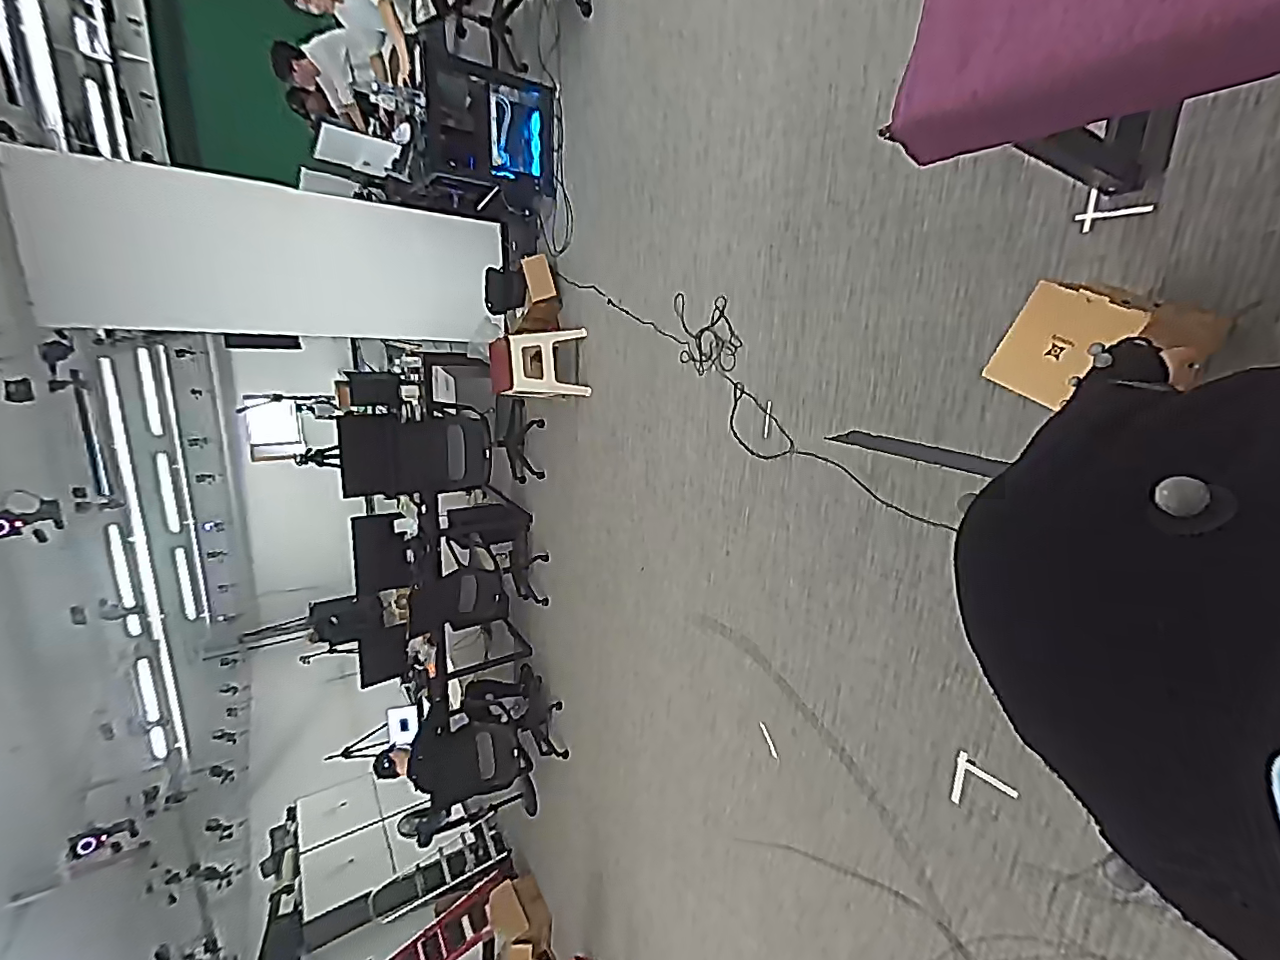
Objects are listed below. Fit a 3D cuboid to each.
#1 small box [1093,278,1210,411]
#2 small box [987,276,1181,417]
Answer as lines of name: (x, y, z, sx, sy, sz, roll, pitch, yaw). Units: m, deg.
small box: (0.879, -0.247, 0.992, 0.168, 0.176, 0.179, 54, 139, 36)
small box: (0.742, -0.224, 0.907, 0.168, 0.176, 0.179, 48, 133, 40)
